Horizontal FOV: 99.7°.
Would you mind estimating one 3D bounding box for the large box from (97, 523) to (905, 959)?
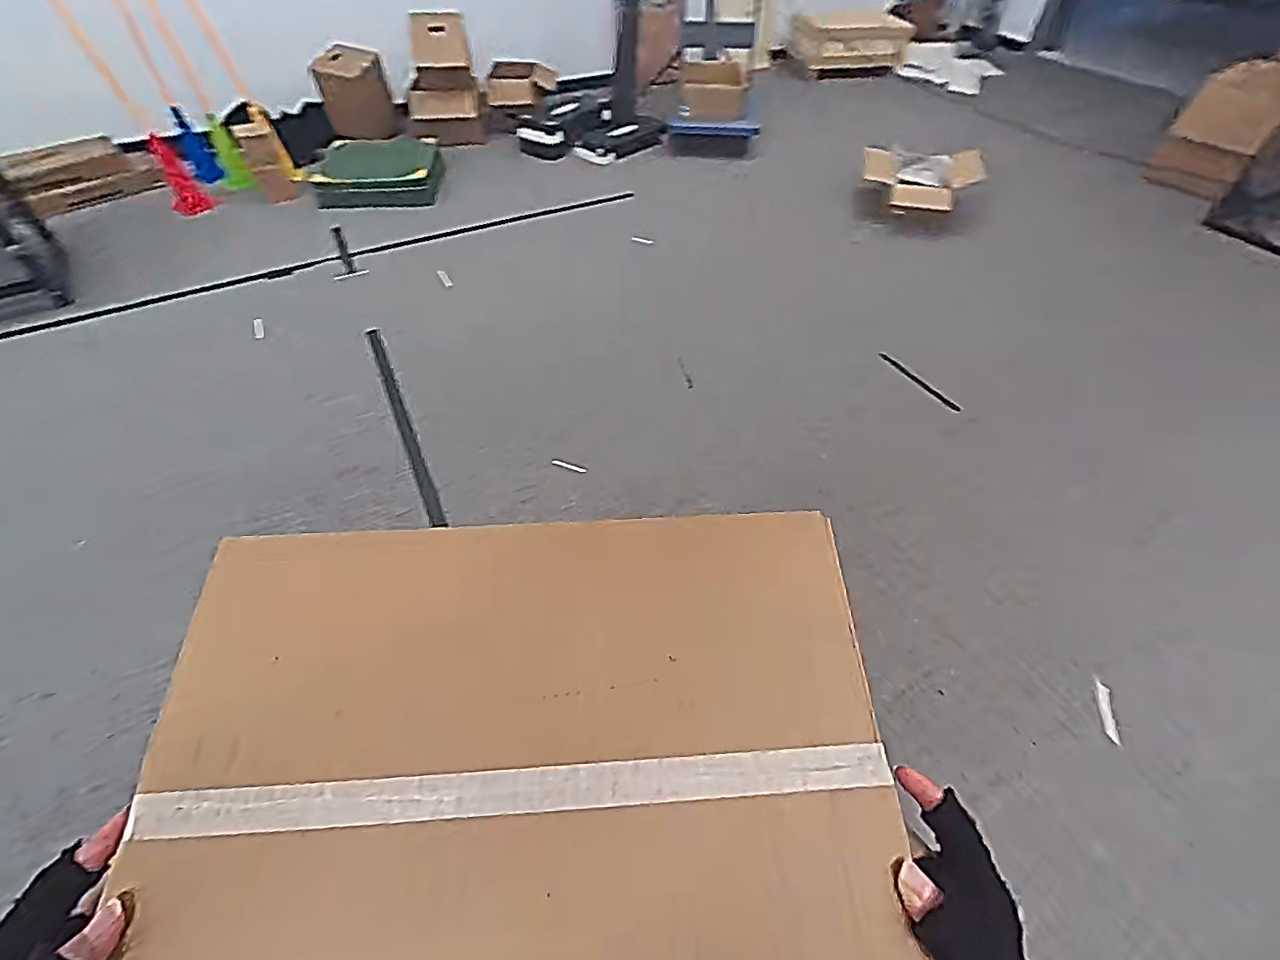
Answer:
[{"bbox_3d":[-0.072,0.247,0.433,0.408,0.320,0.320,-3,61,-3],"label":"large box"}]
